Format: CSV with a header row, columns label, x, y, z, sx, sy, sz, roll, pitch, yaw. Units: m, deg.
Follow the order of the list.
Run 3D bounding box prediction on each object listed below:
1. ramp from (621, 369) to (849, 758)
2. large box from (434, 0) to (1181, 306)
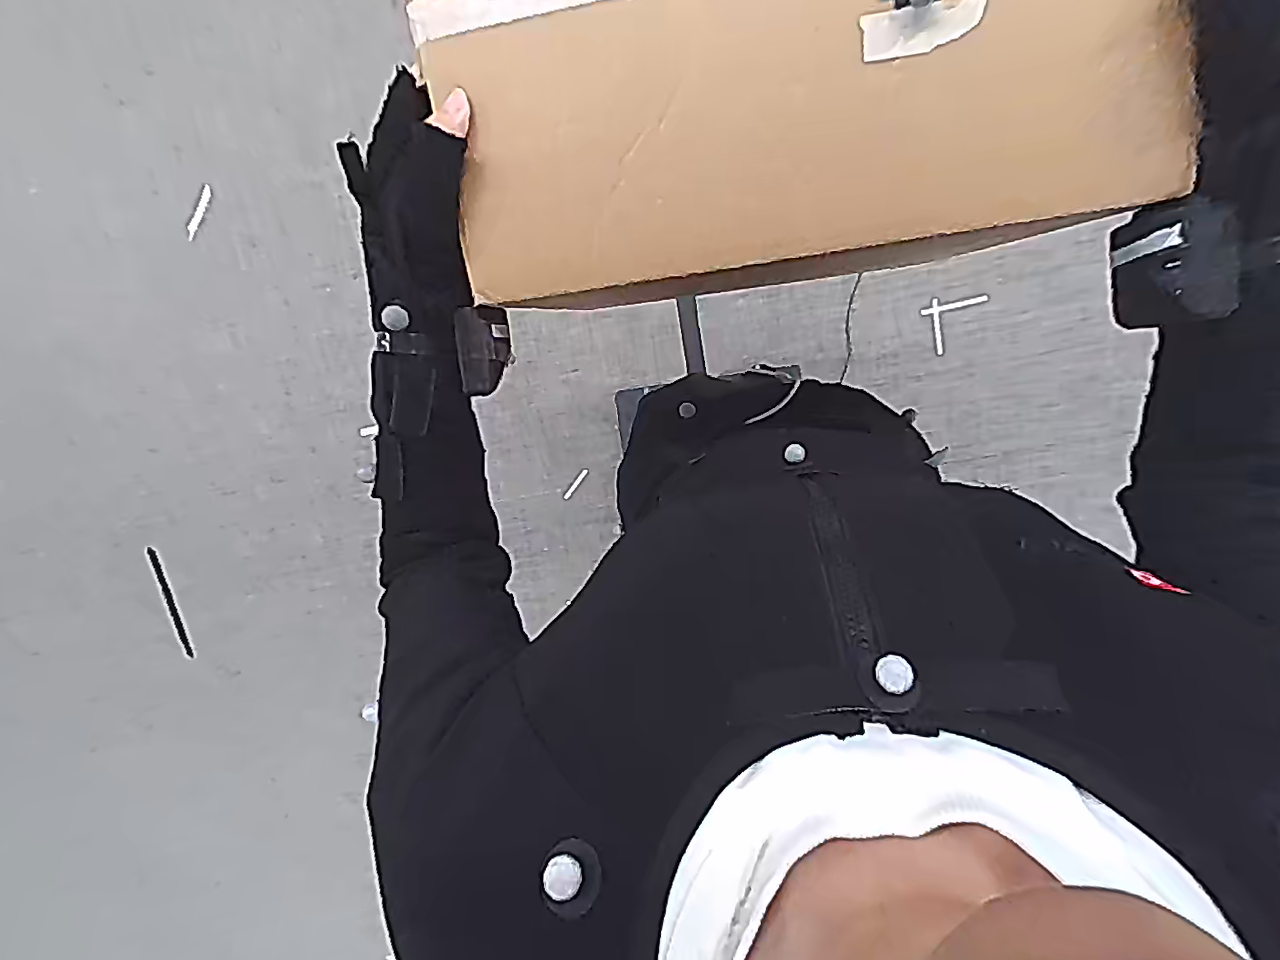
label,x,y,z,sx,sy,sz,roll,pitch,yaw
ramp,0.241,0.232,1.439,0.509,0.206,0.991,-9,99,11
large box,0.090,-0.333,0.433,0.408,0.320,0.320,-6,106,9
